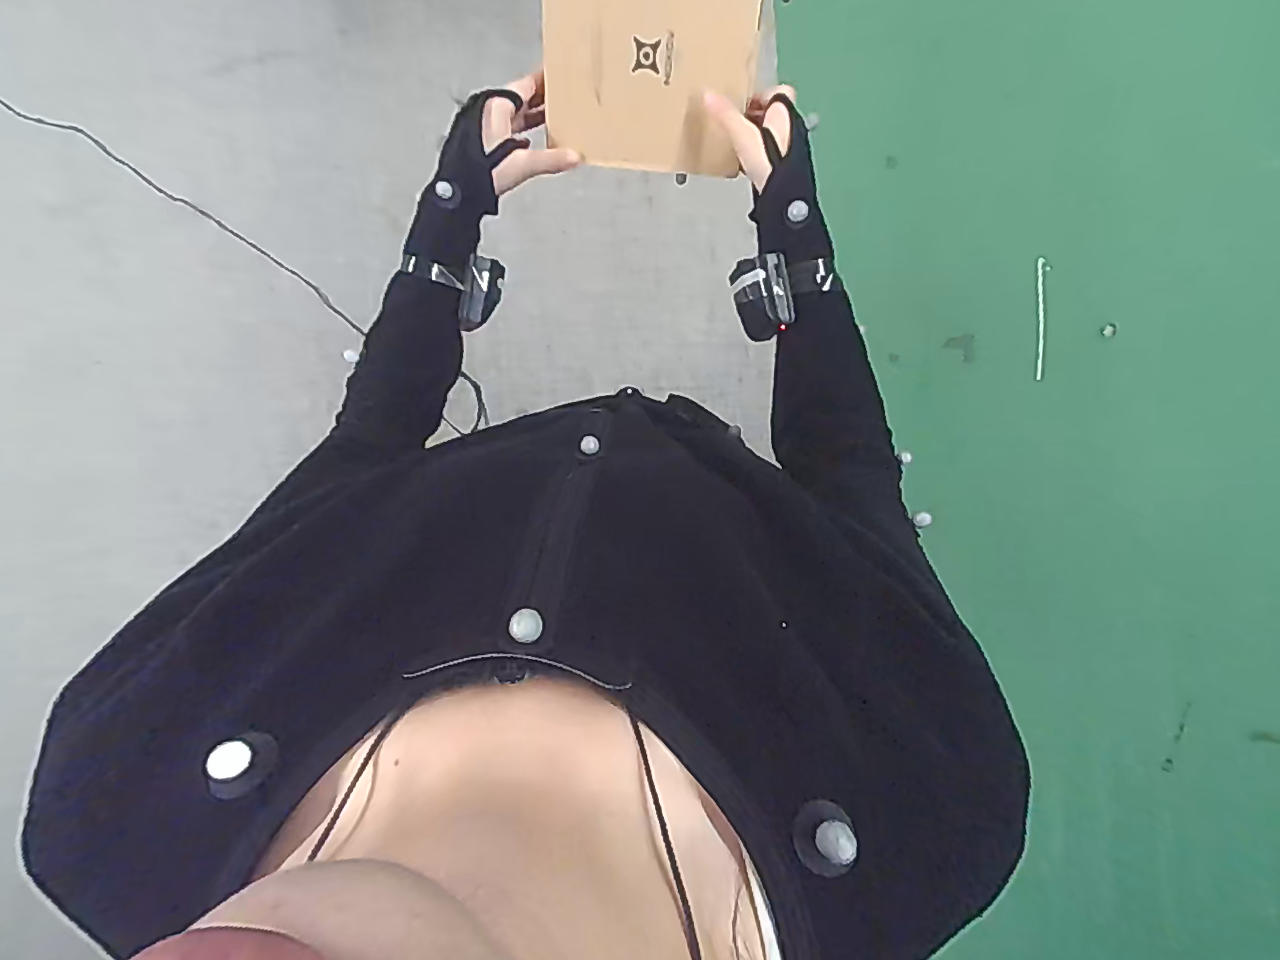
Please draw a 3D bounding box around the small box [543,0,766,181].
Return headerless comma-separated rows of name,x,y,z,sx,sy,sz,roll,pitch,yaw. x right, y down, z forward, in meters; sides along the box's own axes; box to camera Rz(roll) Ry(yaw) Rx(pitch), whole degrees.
small box,0.004,-0.388,0.504,0.179,0.176,0.168,2,124,-5
